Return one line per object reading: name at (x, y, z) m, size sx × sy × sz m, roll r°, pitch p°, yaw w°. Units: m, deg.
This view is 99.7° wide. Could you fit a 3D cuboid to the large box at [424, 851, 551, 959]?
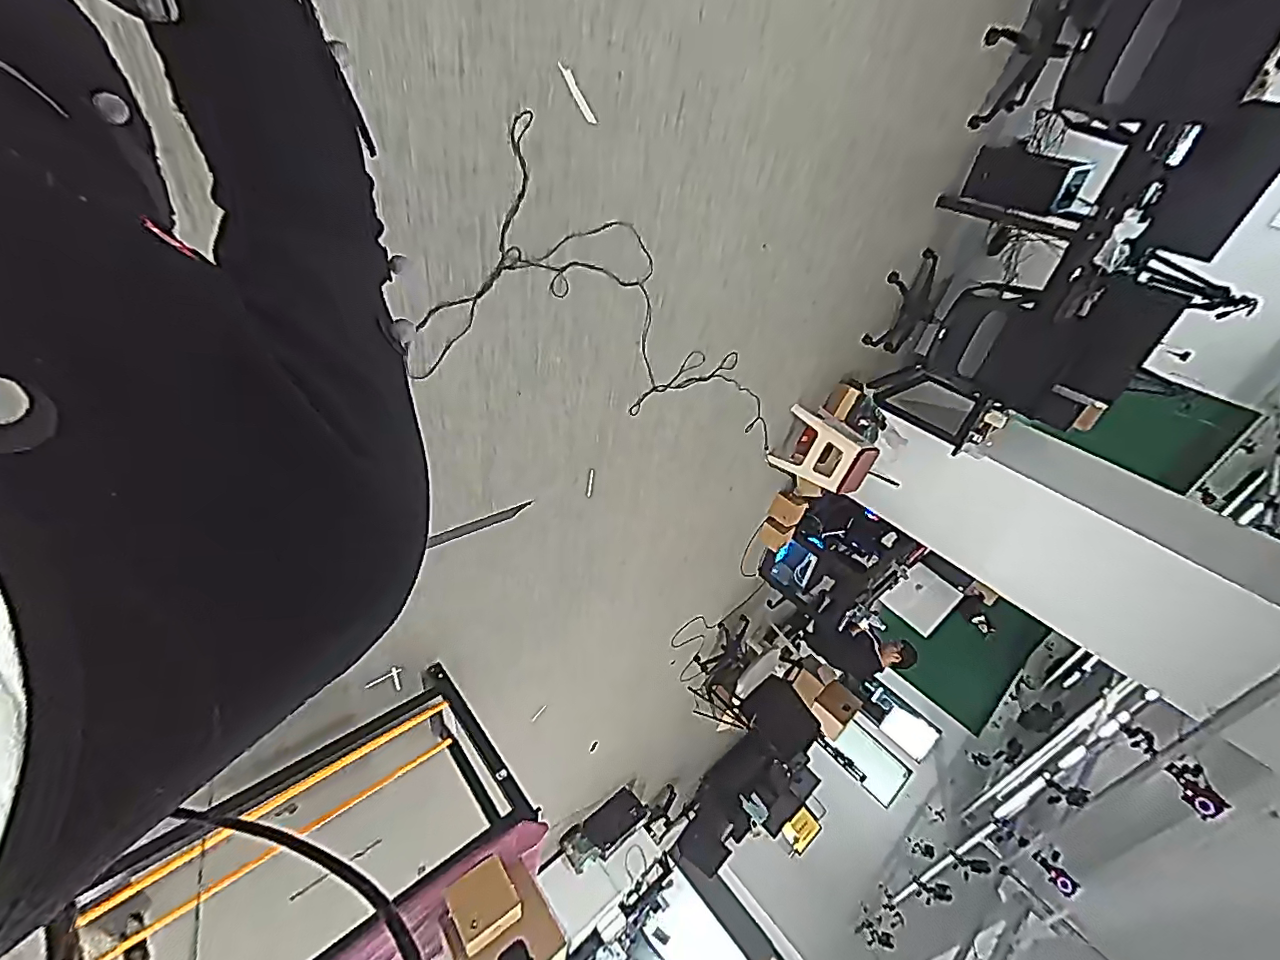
large box at (-0.521, 1.594, 1.869) m, size 0.320 × 0.320 × 0.408 m, roll -21°, pitch 135°, yaw -36°
